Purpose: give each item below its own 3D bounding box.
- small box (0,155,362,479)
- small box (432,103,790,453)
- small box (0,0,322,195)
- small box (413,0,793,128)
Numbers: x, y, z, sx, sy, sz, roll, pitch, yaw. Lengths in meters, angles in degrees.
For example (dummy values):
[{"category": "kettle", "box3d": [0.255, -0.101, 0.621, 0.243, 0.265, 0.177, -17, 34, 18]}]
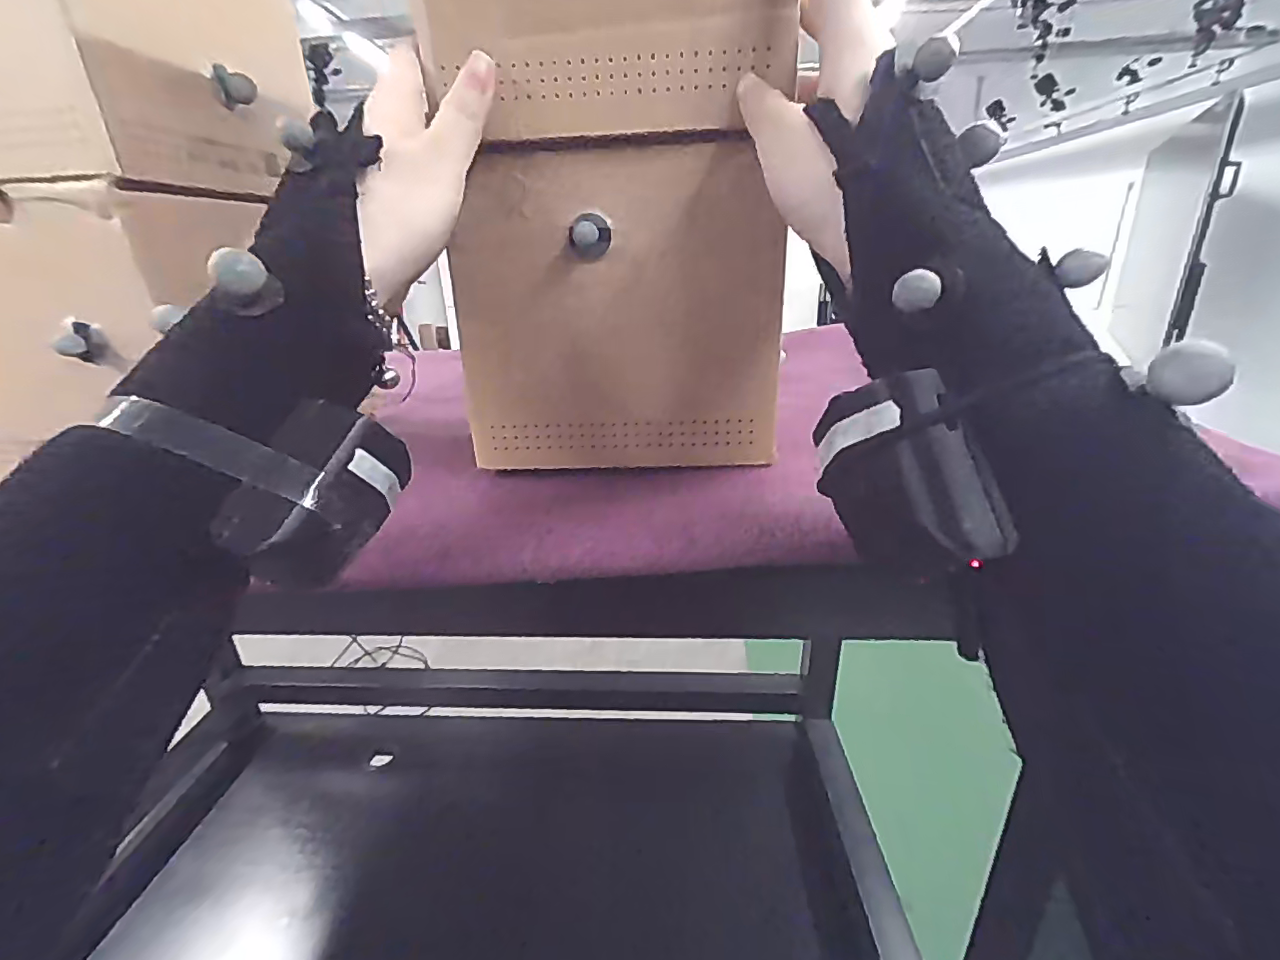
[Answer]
[{"category": "small box", "box3d": [-0.320, -0.105, 0.367, 0.168, 0.176, 0.179, 1, 22, 5]}, {"category": "small box", "box3d": [-0.007, -0.117, 0.354, 0.179, 0.176, 0.168, -1, 19, 3]}, {"category": "small box", "box3d": [-0.325, -0.258, 0.306, 0.179, 0.176, 0.168, 1, 23, 6]}, {"category": "small box", "box3d": [-0.016, -0.268, 0.297, 0.179, 0.176, 0.168, -1, 20, 2]}]
